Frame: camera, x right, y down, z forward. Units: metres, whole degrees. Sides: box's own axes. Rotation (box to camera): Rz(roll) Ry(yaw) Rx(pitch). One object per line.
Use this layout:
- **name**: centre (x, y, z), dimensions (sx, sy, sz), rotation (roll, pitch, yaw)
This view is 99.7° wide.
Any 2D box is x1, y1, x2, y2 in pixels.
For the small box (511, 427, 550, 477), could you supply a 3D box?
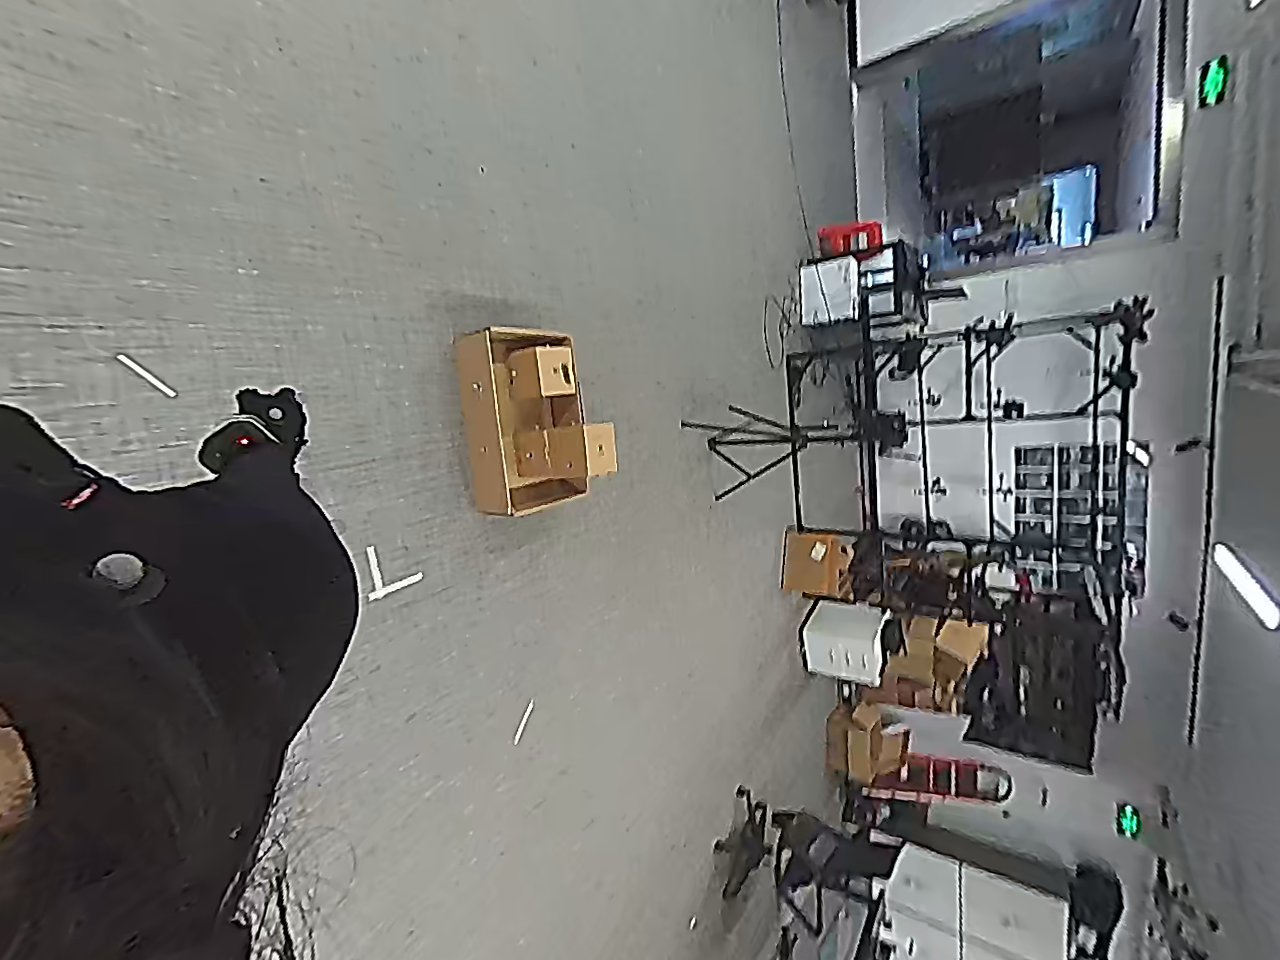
- **small box**: centre (-0.356, -0.106, 1.981), dimensions (0.179, 0.176, 0.168), rotation (-13, 98, -52)

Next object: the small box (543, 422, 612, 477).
- **small box**: centre (-0.219, -0.105, 1.889), dimensions (0.168, 0.176, 0.179), rotation (-14, 99, -55)
